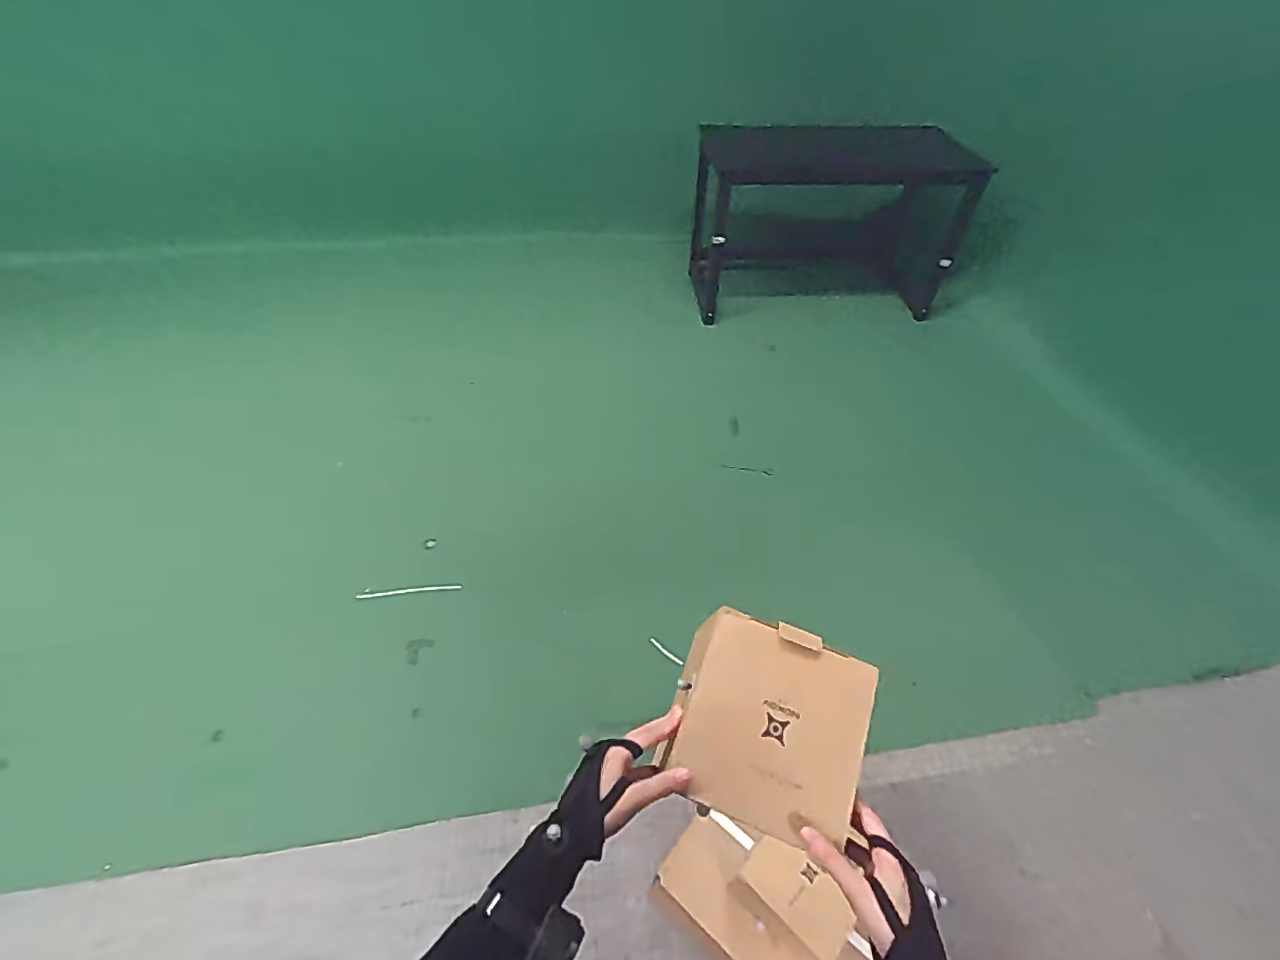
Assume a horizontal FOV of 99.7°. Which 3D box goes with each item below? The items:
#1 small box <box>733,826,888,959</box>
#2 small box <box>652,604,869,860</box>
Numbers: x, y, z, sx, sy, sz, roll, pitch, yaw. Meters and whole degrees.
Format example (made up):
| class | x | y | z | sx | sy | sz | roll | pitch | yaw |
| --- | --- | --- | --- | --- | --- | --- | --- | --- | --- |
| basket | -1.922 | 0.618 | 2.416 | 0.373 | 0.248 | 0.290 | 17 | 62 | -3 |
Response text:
| class | x | y | z | sx | sy | sz | roll | pitch | yaw |
| --- | --- | --- | --- | --- | --- | --- | --- | --- | --- |
| small box | 0.273 | 0.666 | 0.902 | 0.168 | 0.176 | 0.179 | 36 | 57 | 28 |
| small box | 0.115 | 0.256 | 0.571 | 0.168 | 0.176 | 0.179 | 19 | 65 | 6 |
